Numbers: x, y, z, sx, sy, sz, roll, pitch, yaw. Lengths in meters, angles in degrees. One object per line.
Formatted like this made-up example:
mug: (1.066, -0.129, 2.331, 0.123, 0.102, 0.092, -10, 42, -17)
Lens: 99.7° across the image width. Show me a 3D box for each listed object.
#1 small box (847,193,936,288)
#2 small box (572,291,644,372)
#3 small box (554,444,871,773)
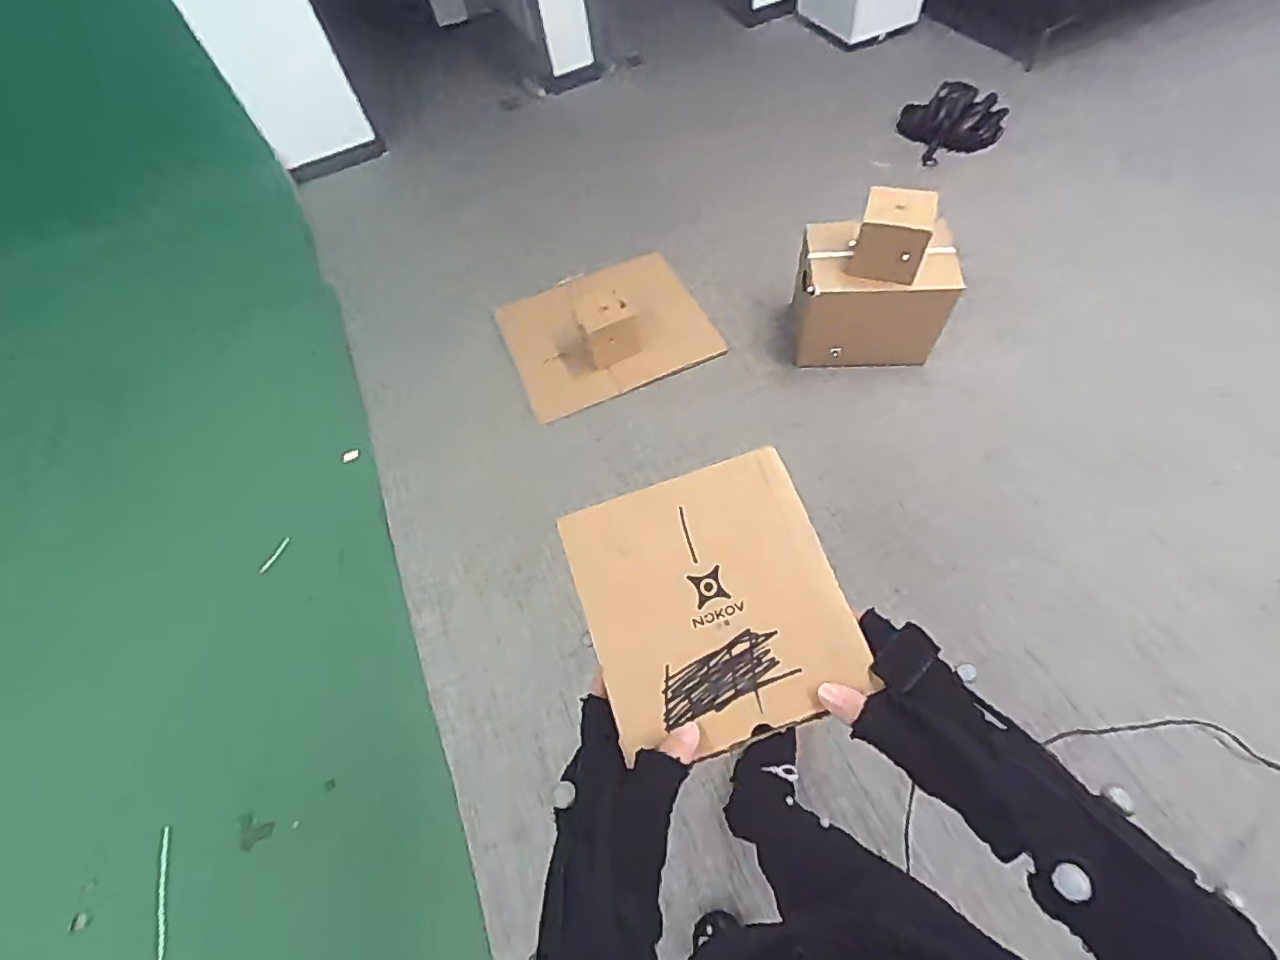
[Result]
small box: (0.687, -0.655, 1.488, 0.179, 0.176, 0.168, 14, 61, 16)
small box: (-0.105, -0.500, 1.841, 0.179, 0.176, 0.168, -28, 58, -8)
small box: (0.048, 0.100, 0.441, 0.168, 0.176, 0.179, -22, 74, -4)
